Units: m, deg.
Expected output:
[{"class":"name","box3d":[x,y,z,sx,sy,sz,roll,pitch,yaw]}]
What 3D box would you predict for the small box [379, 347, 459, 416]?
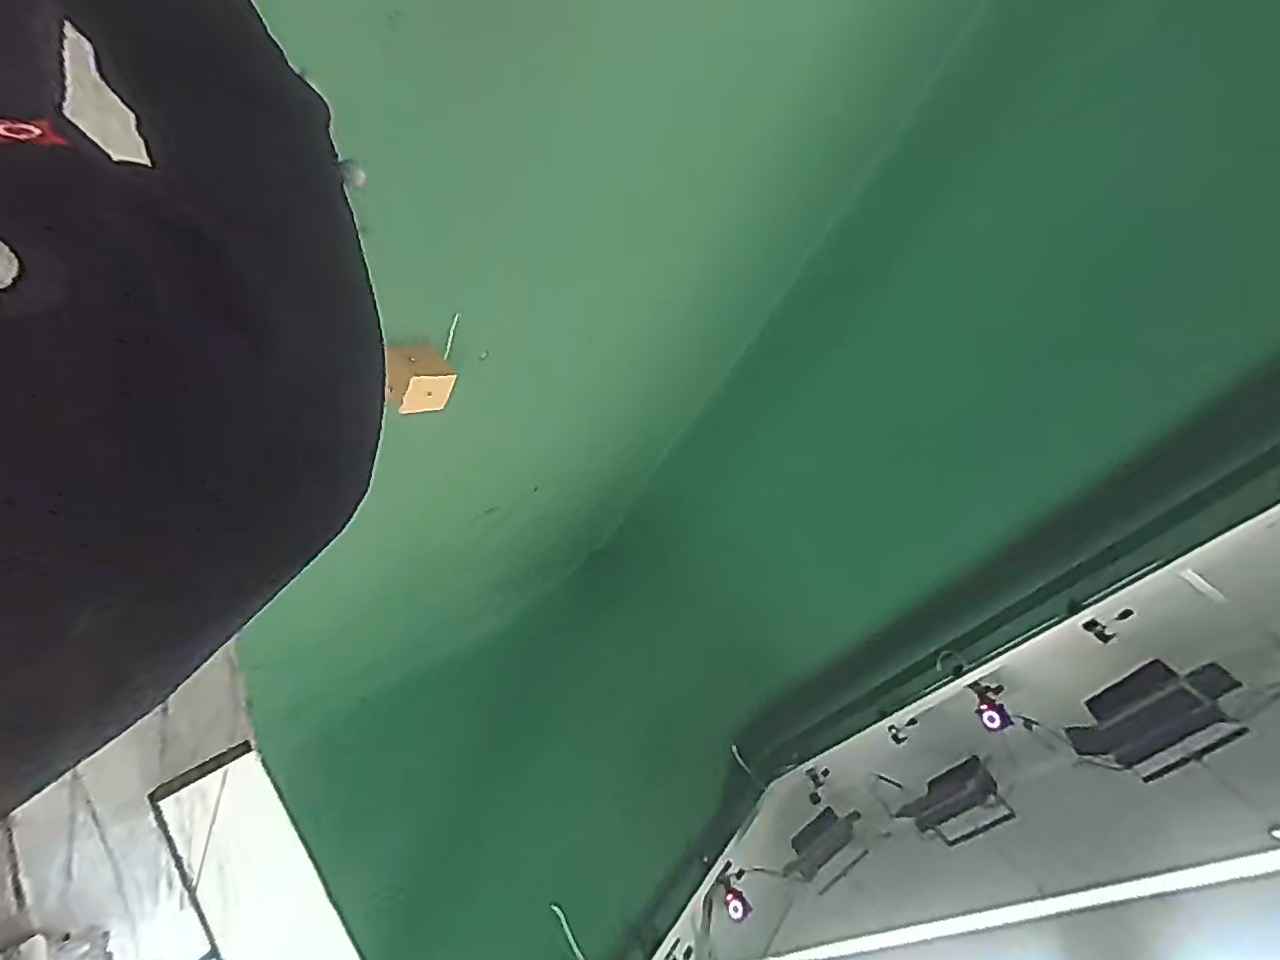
[{"class":"small box","box3d":[-0.769,-0.345,1.872,0.179,0.176,0.168,-19,153,-54]}]
